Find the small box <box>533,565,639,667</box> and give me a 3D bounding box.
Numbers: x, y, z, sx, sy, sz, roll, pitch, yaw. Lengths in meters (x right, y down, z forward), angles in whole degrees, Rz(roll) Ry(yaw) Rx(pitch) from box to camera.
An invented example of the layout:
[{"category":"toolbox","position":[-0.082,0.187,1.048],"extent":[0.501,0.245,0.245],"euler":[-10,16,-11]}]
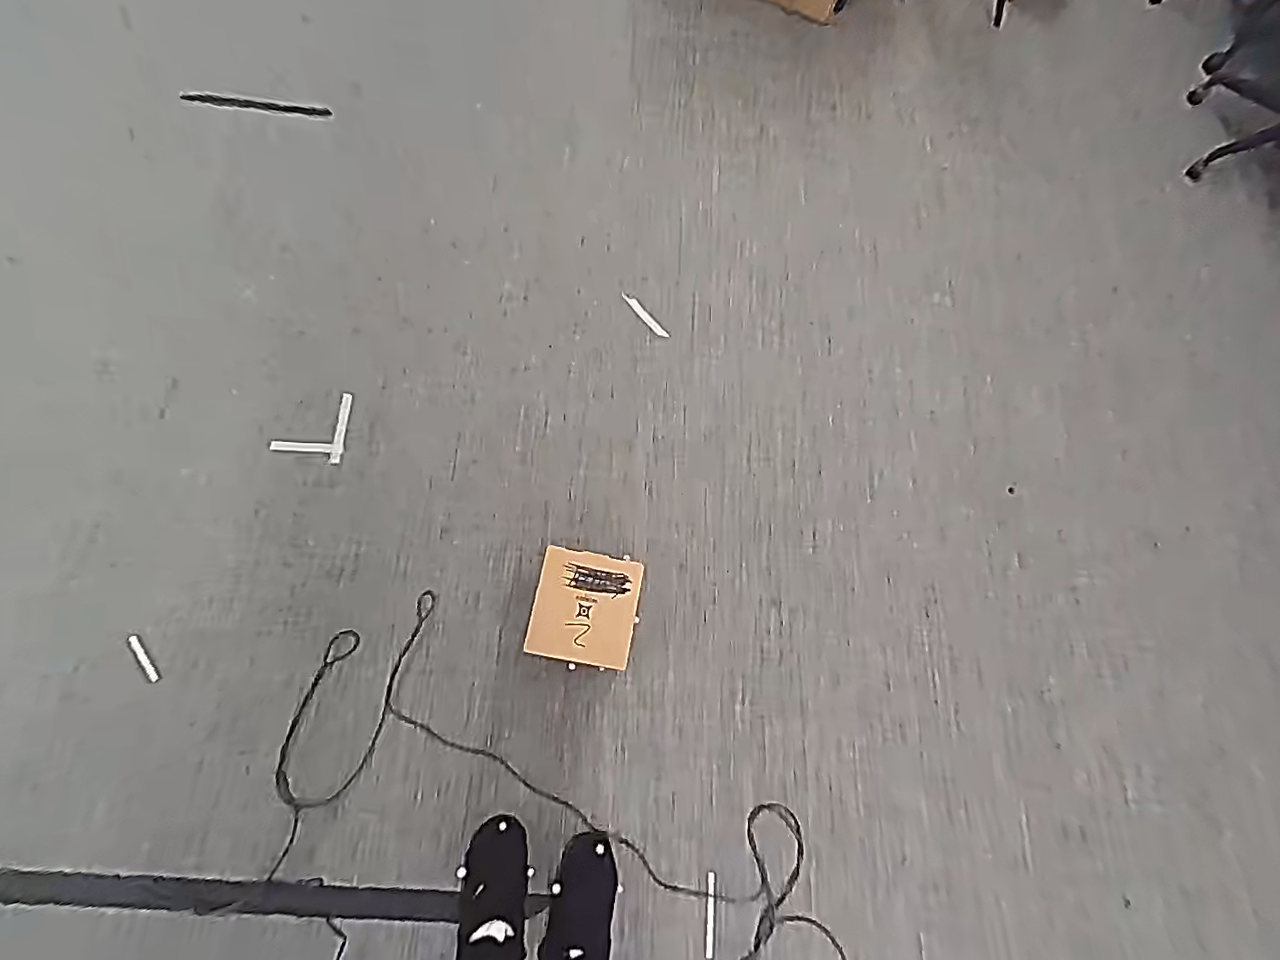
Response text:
[{"category":"small box","position":[-0.106,0.281,1.097],"extent":[0.179,0.176,0.168],"euler":[11,71,-2]}]
